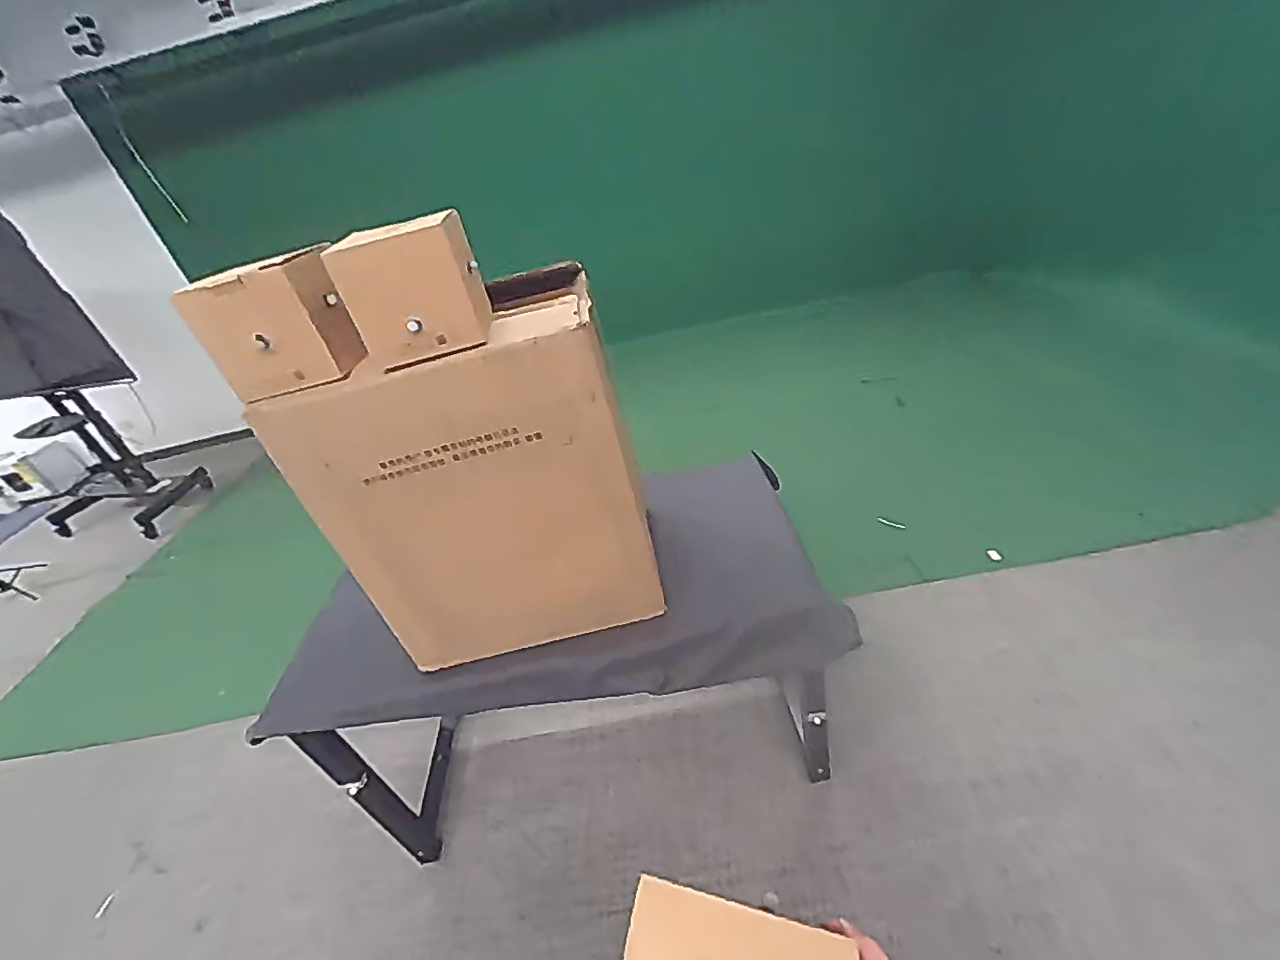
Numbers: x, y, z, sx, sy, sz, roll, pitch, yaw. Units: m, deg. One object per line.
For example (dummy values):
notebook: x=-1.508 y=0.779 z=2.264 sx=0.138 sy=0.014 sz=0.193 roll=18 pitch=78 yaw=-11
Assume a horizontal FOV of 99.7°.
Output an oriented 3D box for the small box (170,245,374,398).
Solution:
small box: x=-0.546 y=-0.241 z=0.837 sx=0.168 sy=0.176 sz=0.179 roll=-14 pitch=33 yaw=3

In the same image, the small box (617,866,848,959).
small box: x=0.070 y=0.438 z=0.426 sx=0.168 sy=0.176 sz=0.179 roll=4 pitch=51 yaw=18
